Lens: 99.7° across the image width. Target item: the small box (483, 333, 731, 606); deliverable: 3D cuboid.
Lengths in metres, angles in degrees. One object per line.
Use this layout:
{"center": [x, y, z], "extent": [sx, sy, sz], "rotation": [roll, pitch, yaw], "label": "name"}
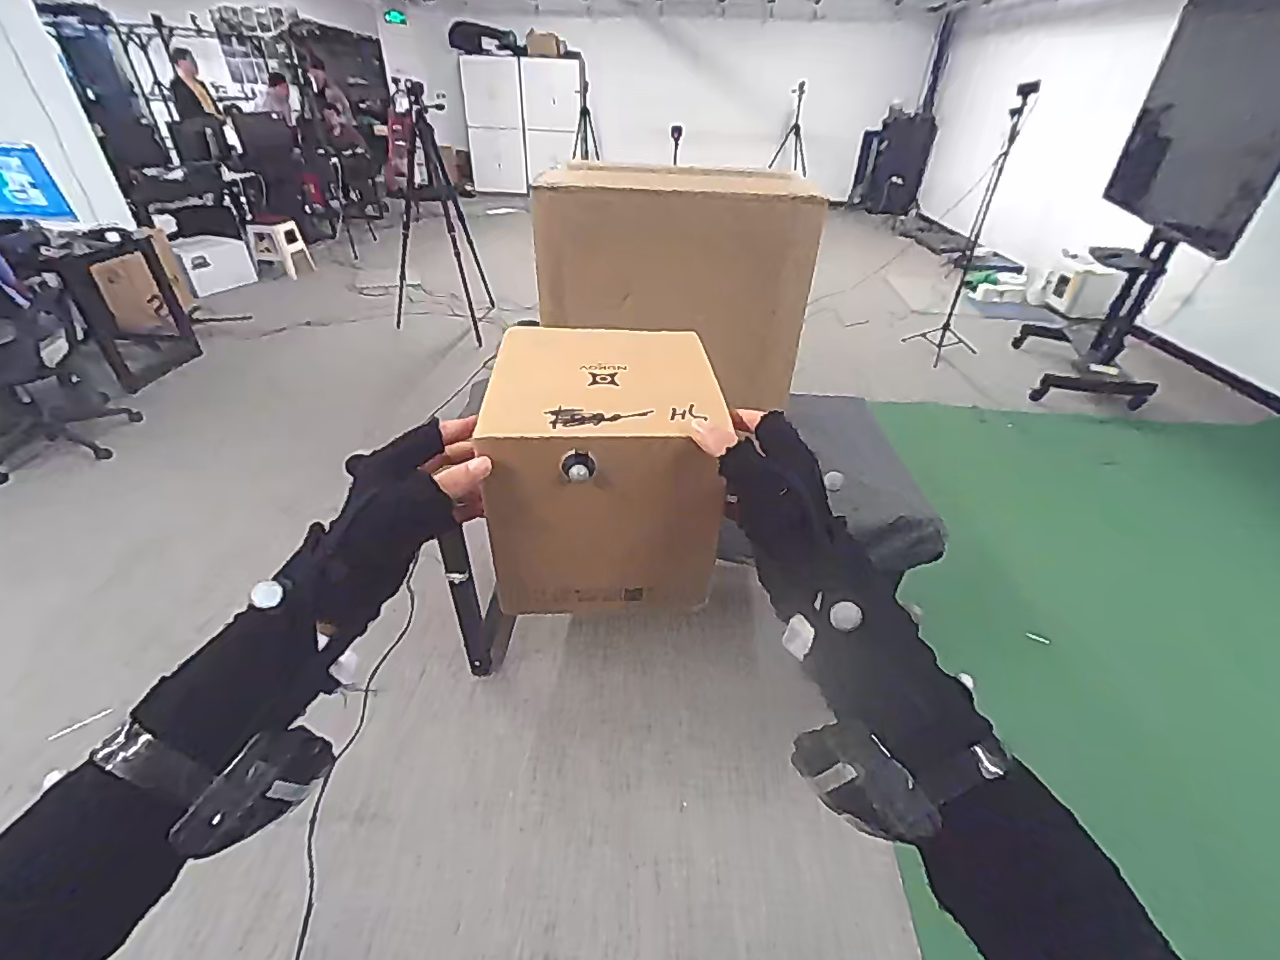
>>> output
{"center": [-0.029, -0.014, 0.464], "extent": [0.168, 0.176, 0.179], "rotation": [-1, 36, -4], "label": "small box"}
